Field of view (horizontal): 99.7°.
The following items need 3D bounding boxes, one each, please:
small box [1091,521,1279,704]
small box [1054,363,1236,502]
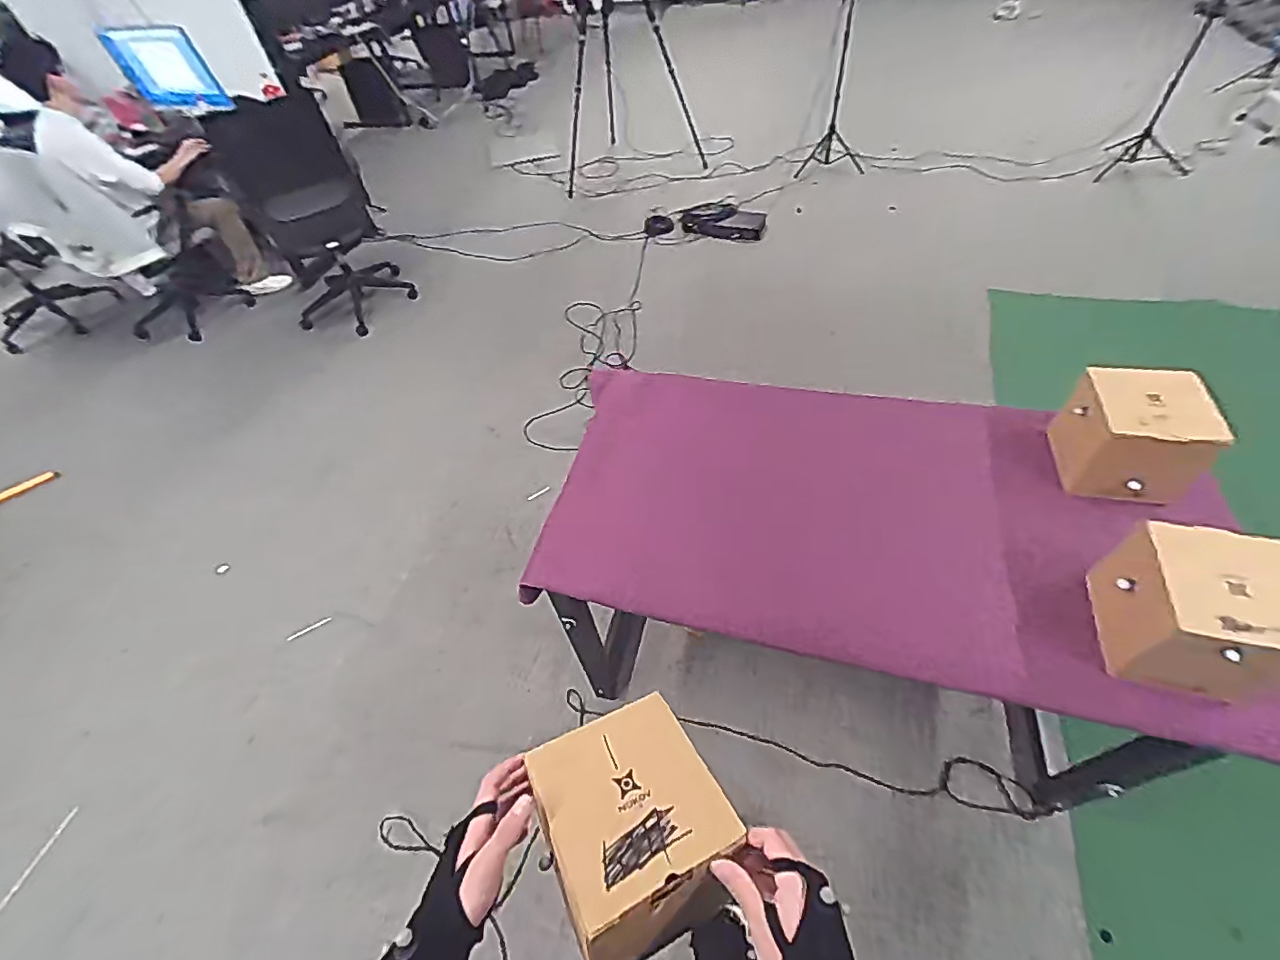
[{"bbox_3d":[0.782,0.186,0.763,0.168,0.176,0.179,8,53,17],"label":"small box"},{"bbox_3d":[0.880,-0.086,0.969,0.168,0.176,0.179,6,53,16],"label":"small box"}]
